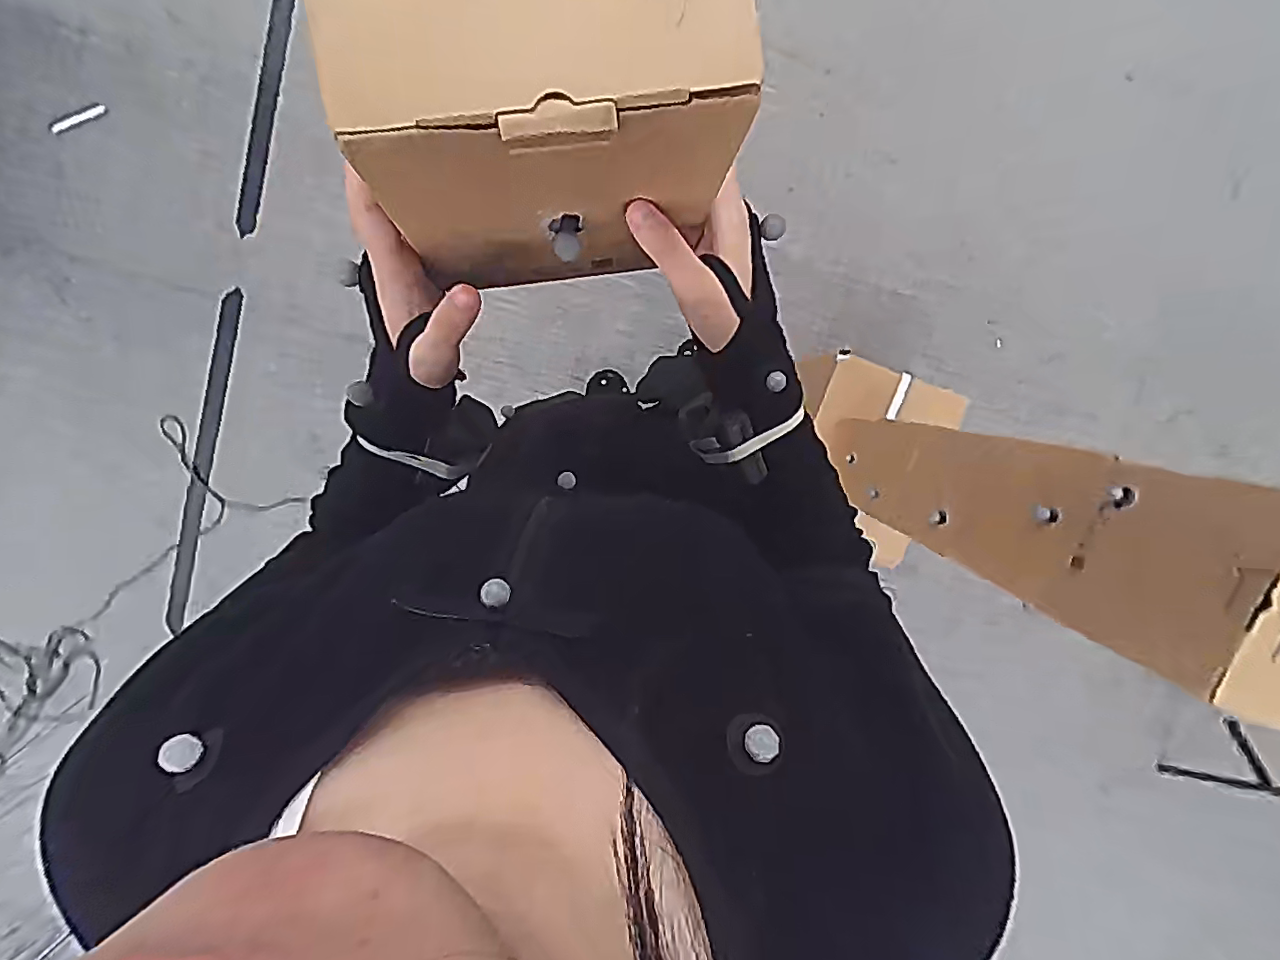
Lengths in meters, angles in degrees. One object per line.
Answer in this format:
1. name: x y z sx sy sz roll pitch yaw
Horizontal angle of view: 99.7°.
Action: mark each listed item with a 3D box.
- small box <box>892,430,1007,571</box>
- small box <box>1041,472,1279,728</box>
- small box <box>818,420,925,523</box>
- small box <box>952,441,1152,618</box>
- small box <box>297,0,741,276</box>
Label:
1. small box: 0.500 0.039 0.789 0.168 0.176 0.179 20 99 -5
2. small box: 0.509 0.100 0.468 0.179 0.176 0.168 20 99 -5
3. small box: 0.490 -0.019 1.112 0.168 0.176 0.179 16 100 -3
4. small box: 0.505 0.068 0.630 0.168 0.176 0.179 20 99 -4
5. small box: -0.058 -0.222 0.285 0.168 0.176 0.179 -10 91 -5
